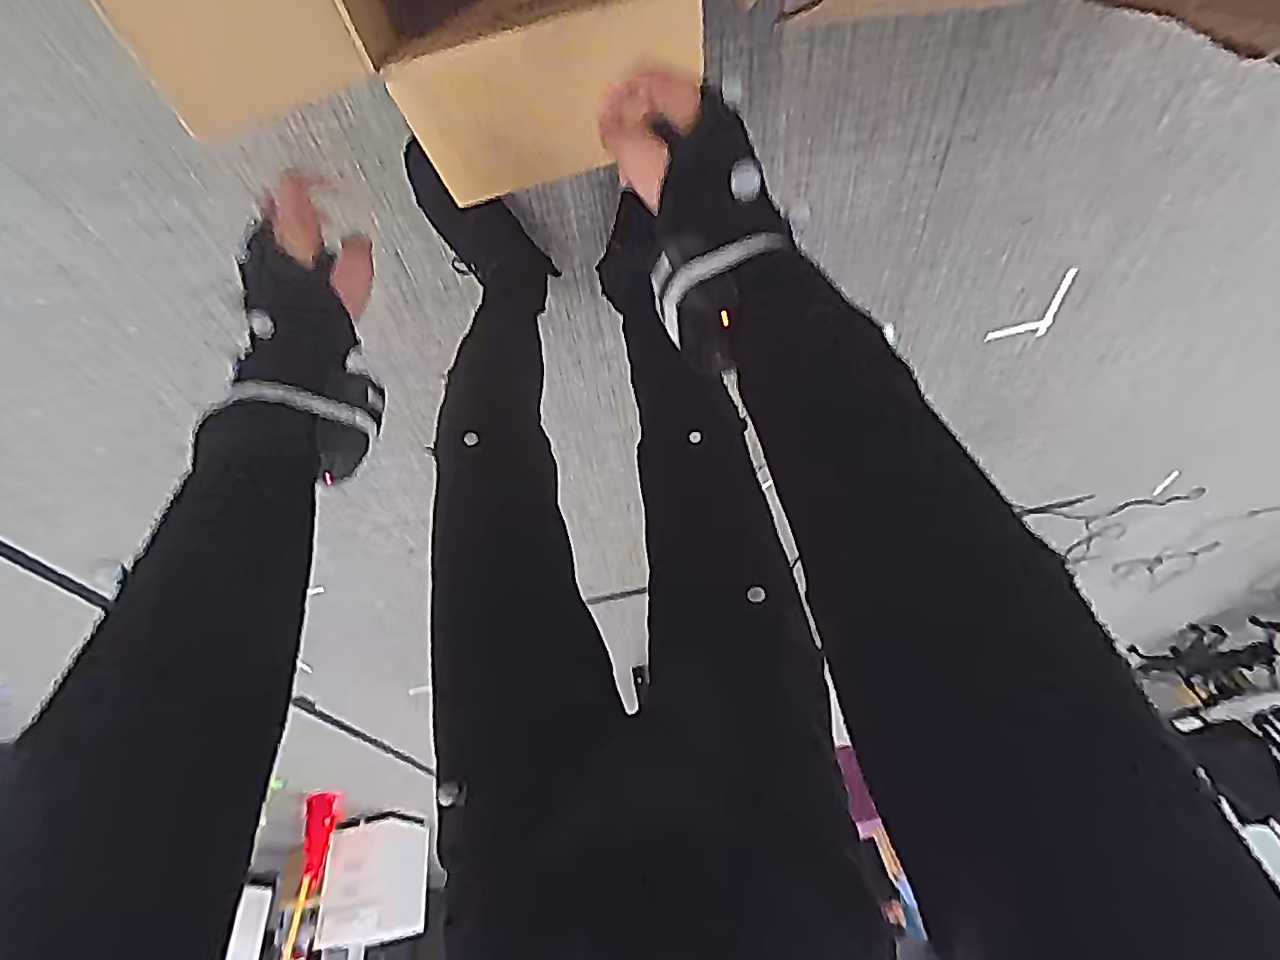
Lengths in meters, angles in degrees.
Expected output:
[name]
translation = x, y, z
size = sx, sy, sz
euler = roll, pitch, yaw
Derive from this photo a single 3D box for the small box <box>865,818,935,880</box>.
[small box]
translation = 1.014, 1.447, 2.123
size = 0.179, 0.176, 0.168
euler = -13, 139, 0
